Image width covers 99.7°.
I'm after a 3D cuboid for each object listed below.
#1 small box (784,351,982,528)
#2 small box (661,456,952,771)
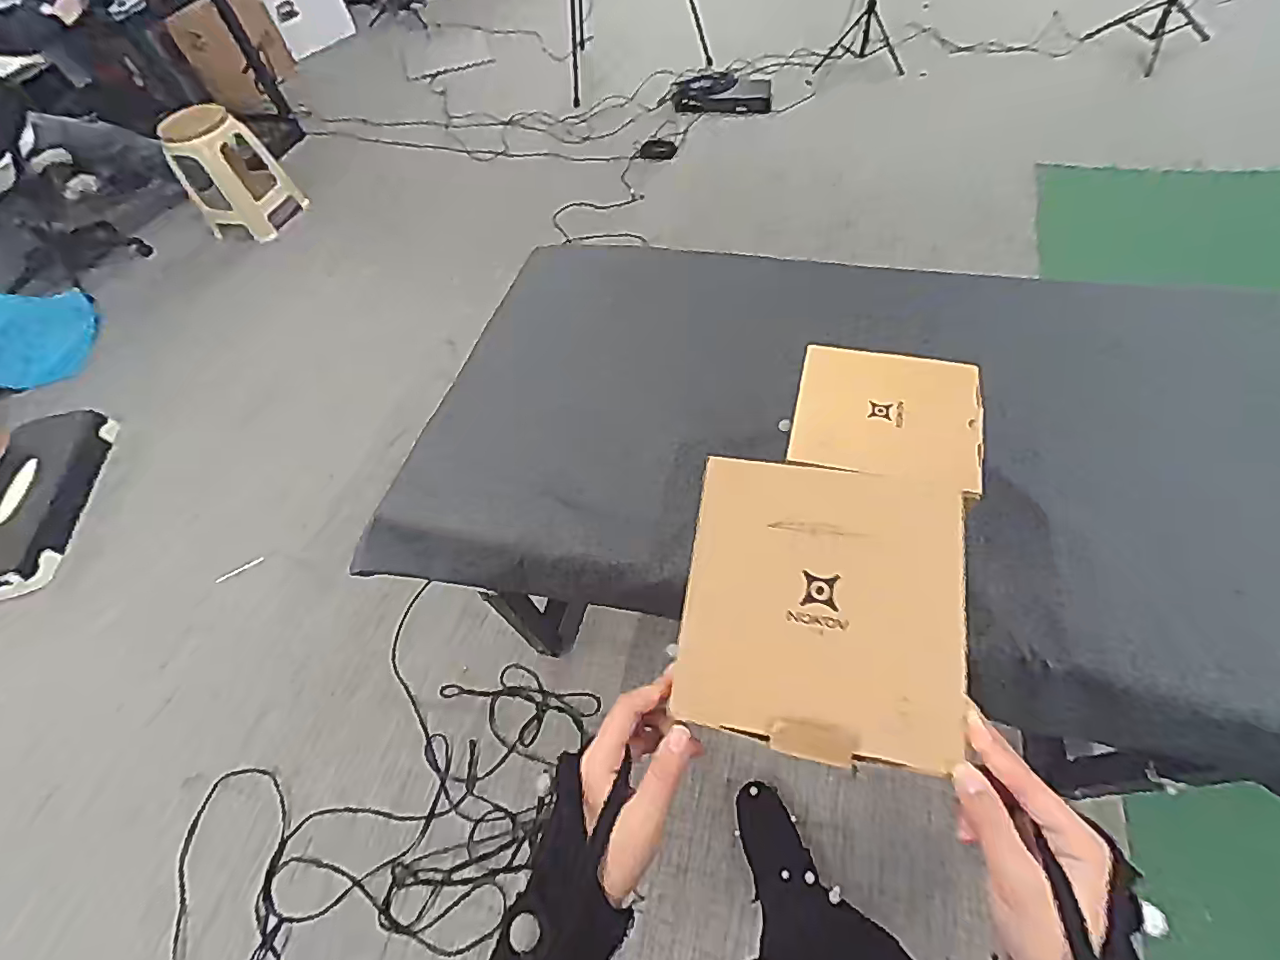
[{"bbox_3d":[0.255,-0.019,0.609,0.179,0.176,0.168,11,58,14],"label":"small box"},{"bbox_3d":[0.117,0.101,0.412,0.168,0.176,0.179,6,68,10],"label":"small box"}]
